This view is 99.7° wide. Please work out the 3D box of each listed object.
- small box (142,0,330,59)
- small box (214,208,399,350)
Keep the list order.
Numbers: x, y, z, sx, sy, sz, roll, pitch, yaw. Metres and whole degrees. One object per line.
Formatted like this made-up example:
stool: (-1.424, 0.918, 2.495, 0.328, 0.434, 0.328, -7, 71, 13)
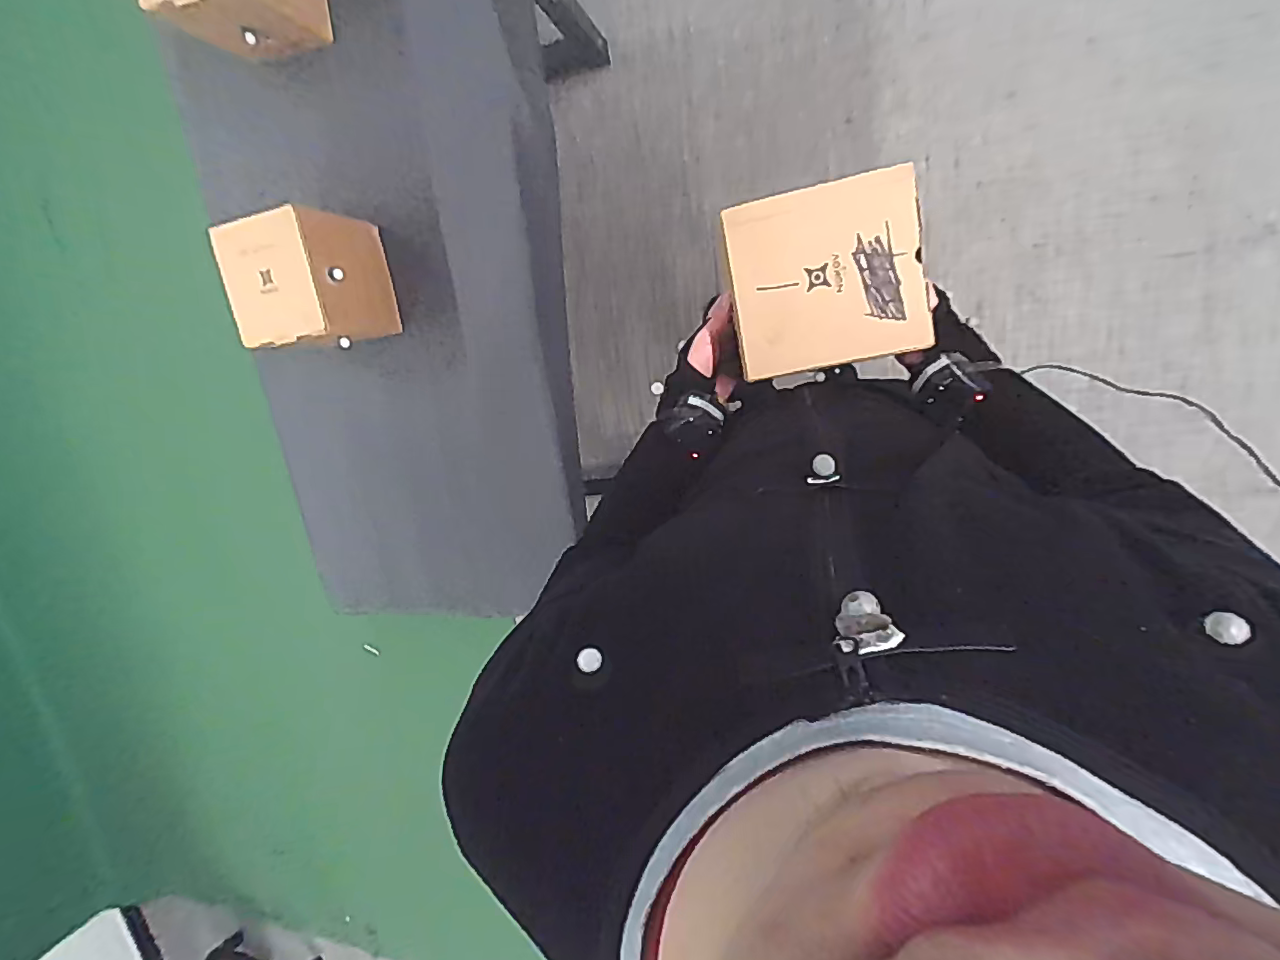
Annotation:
small box: (-0.573, -0.731, 0.761, 0.168, 0.176, 0.179, 2, 106, 16)
small box: (-0.518, -0.310, 0.866, 0.168, 0.176, 0.179, -5, 102, 17)
